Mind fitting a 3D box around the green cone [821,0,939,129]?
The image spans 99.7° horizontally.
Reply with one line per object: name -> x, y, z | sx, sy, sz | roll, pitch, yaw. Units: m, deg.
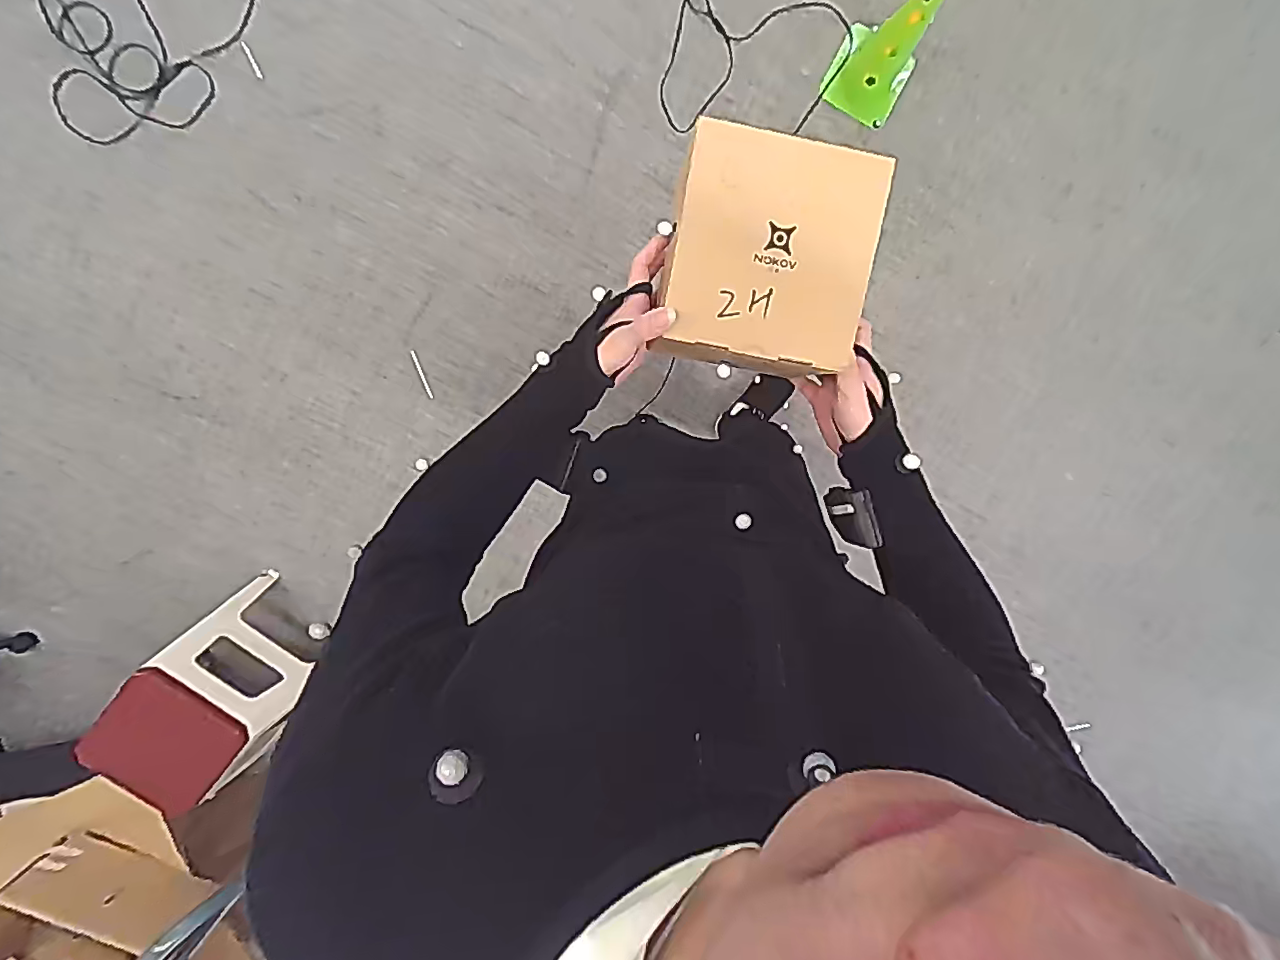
green cone -> 0.616, -1.049, 1.279 | 0.202, 0.368, 0.200 | 26, 98, -5

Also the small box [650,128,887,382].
small box -> 0.108, -0.200, 0.536 | 0.168, 0.176, 0.179 | 11, 99, -4
